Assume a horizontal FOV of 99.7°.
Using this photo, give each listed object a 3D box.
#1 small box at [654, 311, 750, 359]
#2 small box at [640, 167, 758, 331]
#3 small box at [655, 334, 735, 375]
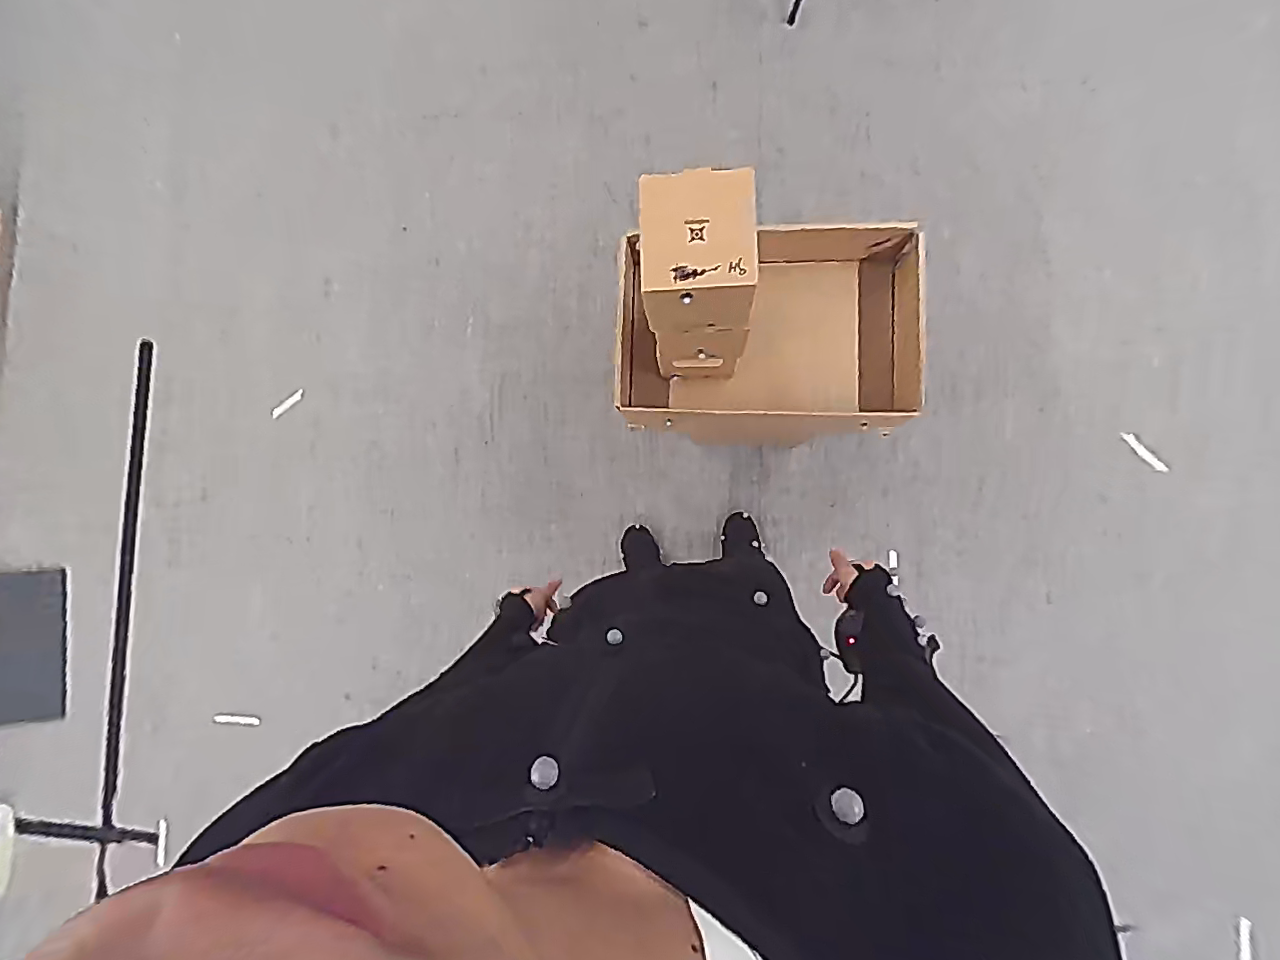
[{"bbox_3d":[0.113,-0.335,1.002,0.168,0.176,0.179,-1,86,6],"label":"small box"},{"bbox_3d":[0.089,-0.348,0.839,0.168,0.176,0.179,-1,85,6],"label":"small box"},{"bbox_3d":[0.123,-0.328,1.166,0.168,0.176,0.179,1,85,6],"label":"small box"}]
